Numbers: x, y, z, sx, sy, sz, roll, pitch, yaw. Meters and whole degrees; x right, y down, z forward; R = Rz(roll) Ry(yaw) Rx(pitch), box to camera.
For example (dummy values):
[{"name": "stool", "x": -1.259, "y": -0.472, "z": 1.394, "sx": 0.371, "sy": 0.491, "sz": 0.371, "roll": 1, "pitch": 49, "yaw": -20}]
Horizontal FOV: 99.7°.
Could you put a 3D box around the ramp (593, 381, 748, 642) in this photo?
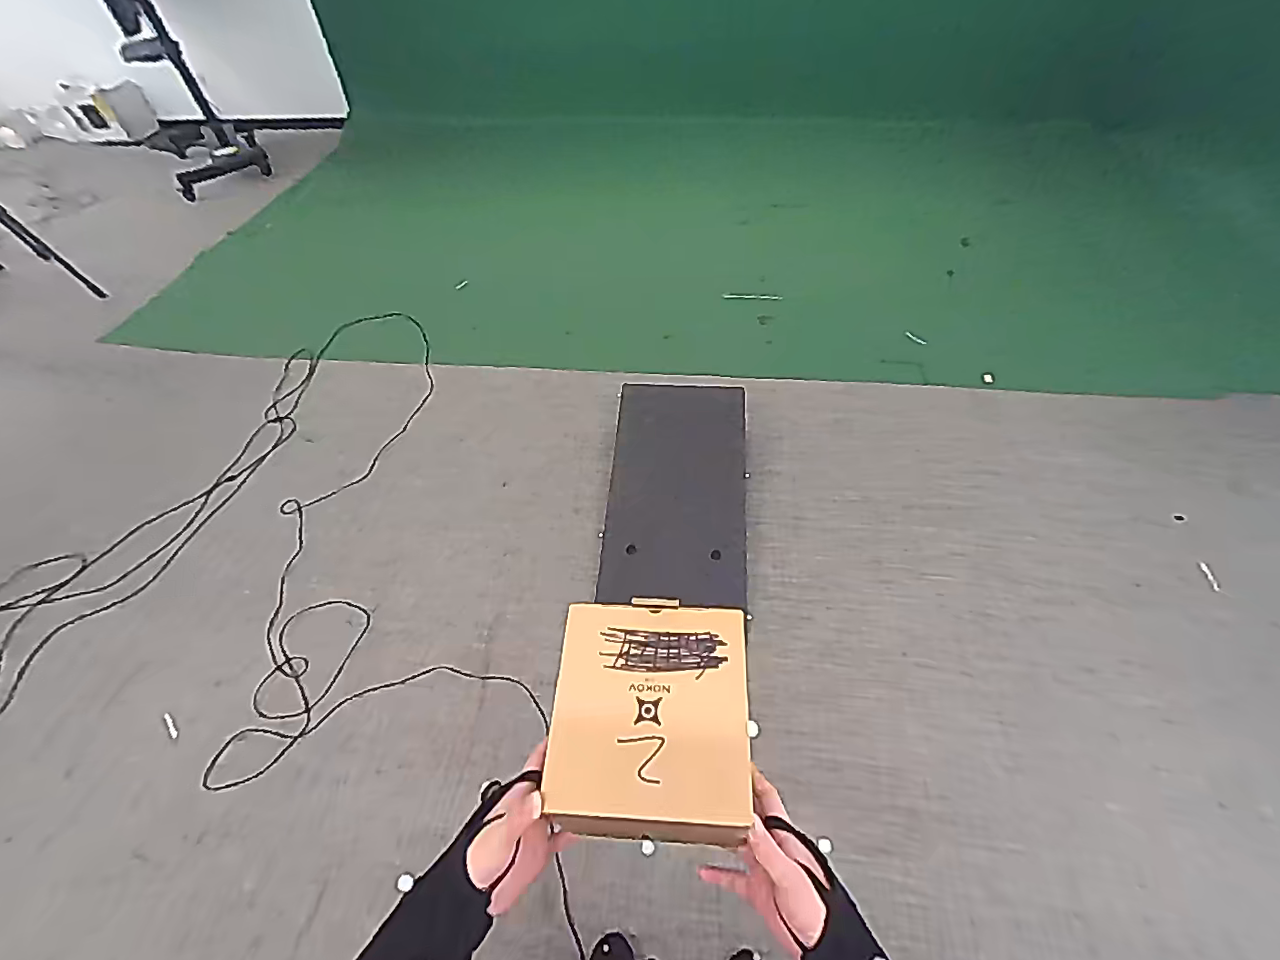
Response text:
[{"name": "ramp", "x": 0.134, "y": 0.053, "z": 1.915, "sx": 0.509, "sy": 0.206, "sz": 0.991, "roll": 2, "pitch": 52, "yaw": 3}]
